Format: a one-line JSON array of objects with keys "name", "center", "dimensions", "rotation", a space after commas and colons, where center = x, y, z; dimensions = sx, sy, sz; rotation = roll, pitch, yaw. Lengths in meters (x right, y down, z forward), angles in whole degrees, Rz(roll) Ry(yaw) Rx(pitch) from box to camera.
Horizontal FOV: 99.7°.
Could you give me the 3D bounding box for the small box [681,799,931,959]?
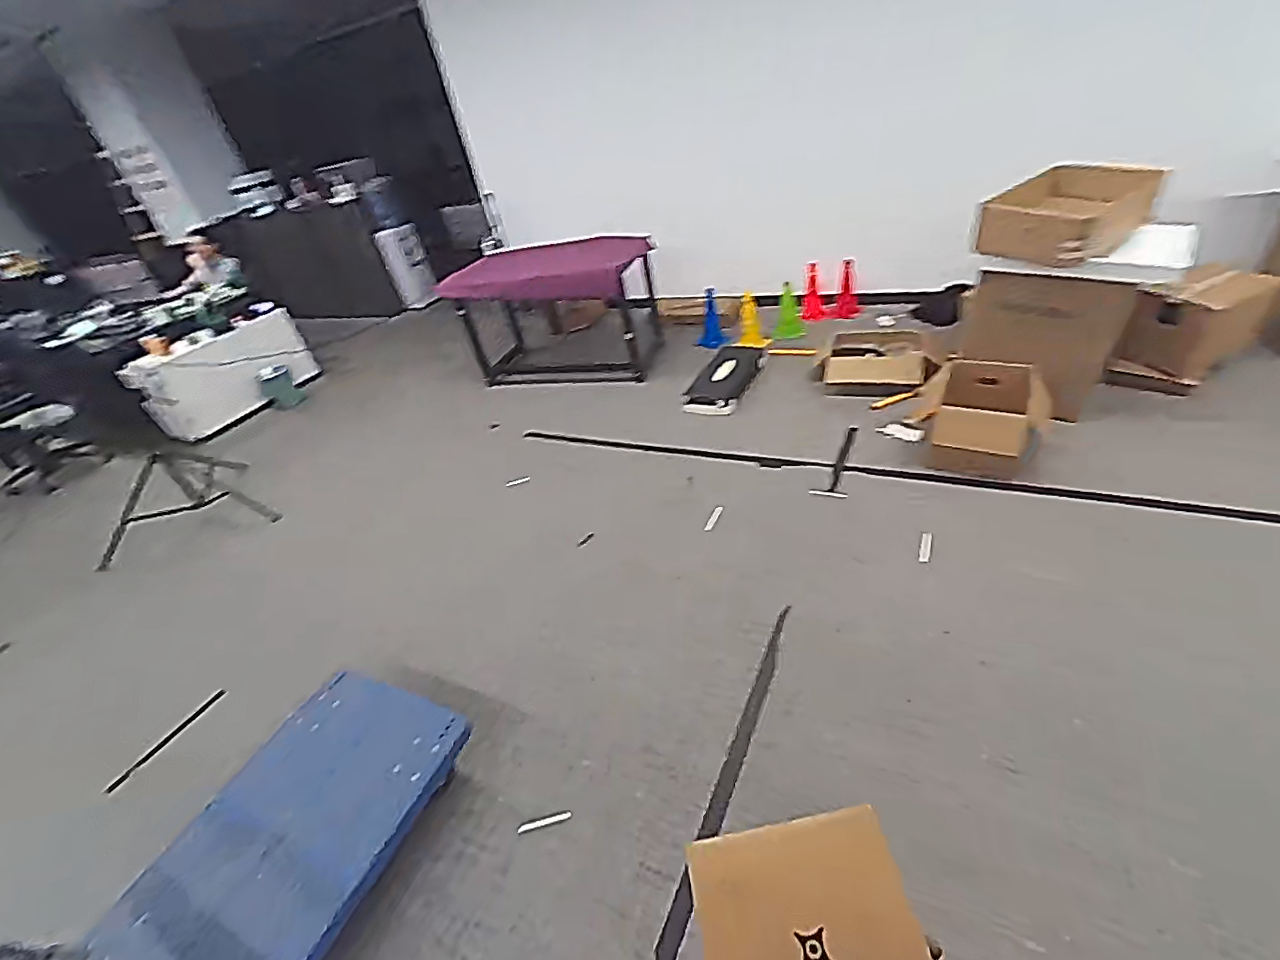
[{"name": "small box", "center": [0.138, 0.402, 0.457], "dimensions": [0.168, 0.176, 0.179], "rotation": [-14, 47, -1]}]
